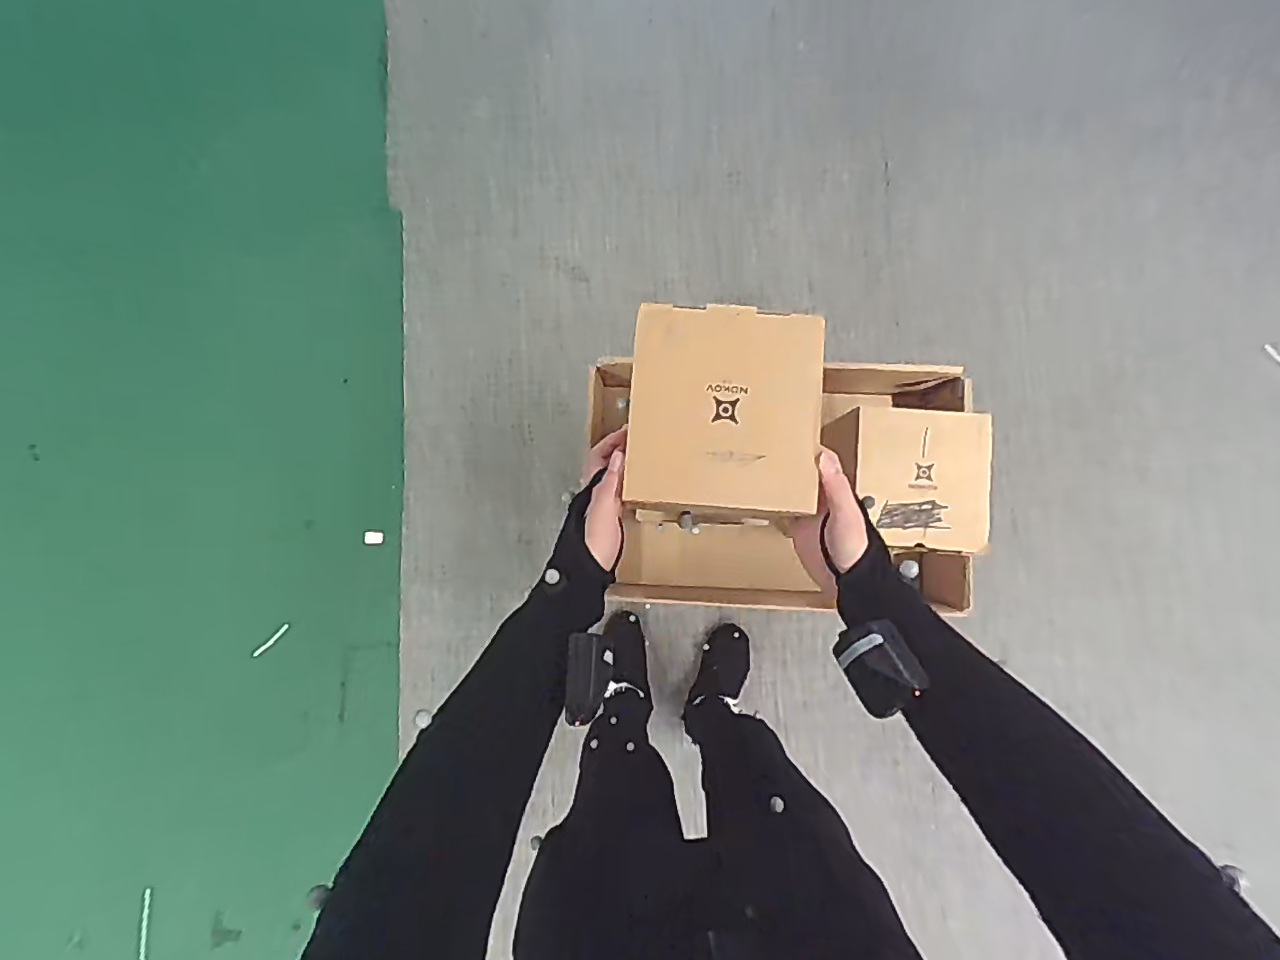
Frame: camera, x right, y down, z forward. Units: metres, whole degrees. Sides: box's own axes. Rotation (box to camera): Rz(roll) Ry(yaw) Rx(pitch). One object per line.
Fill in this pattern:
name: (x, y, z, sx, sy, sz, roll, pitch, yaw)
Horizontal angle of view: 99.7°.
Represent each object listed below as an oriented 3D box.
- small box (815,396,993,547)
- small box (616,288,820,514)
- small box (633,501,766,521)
small box: (0.344, -0.006, 0.733, 0.168, 0.176, 0.179, 4, 86, 2)
small box: (0.067, -0.064, 0.534, 0.168, 0.176, 0.179, 4, 84, 1)
small box: (0.078, -0.036, 0.743, 0.168, 0.176, 0.179, 2, 85, 3)
